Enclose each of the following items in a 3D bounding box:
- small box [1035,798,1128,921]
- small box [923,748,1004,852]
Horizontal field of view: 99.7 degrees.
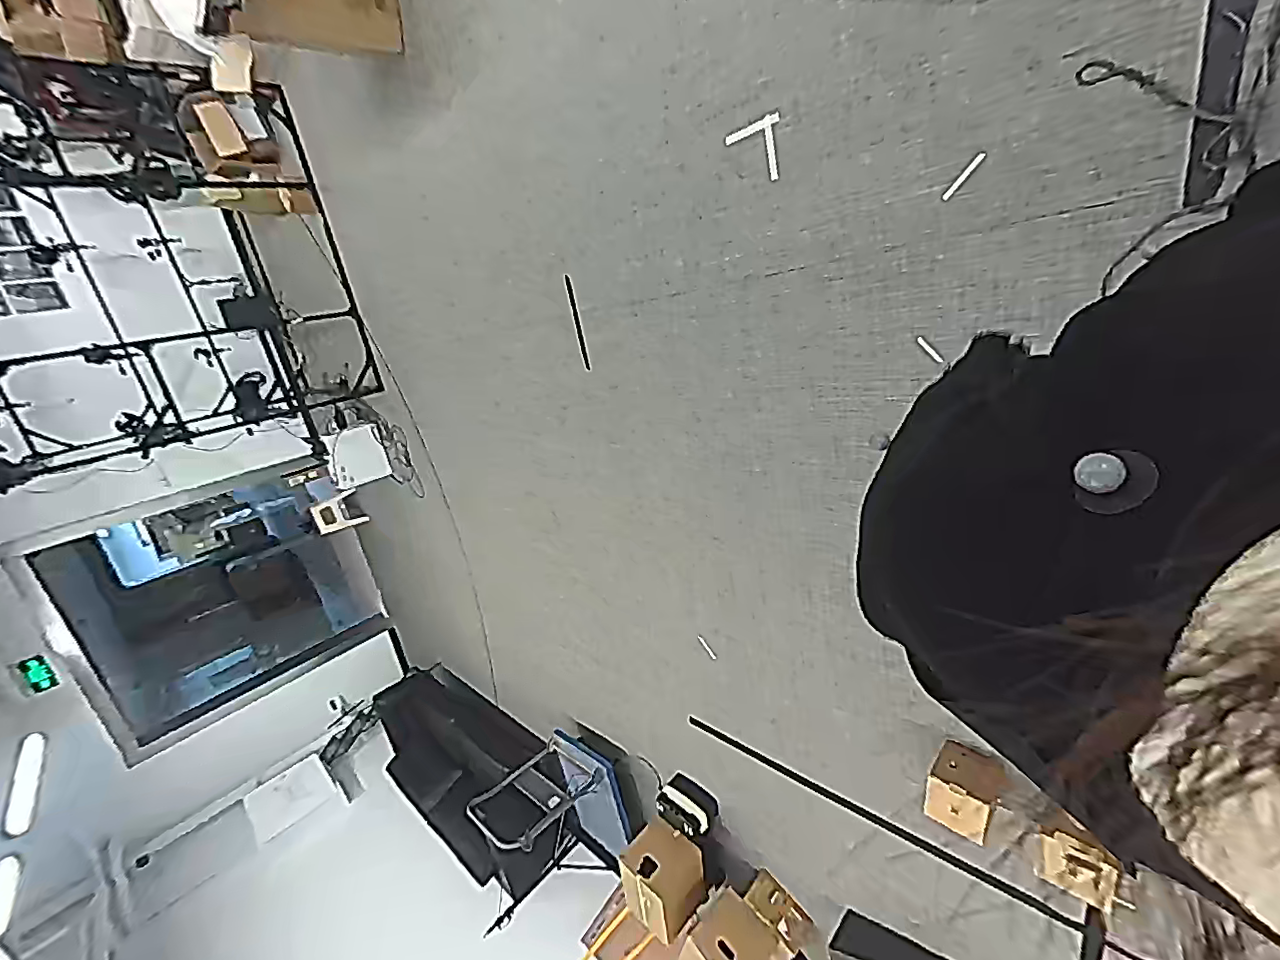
[{"bbox_3d":[1.191,1.011,1.459,0.168,0.176,0.179,11,119,44],"label":"small box"},{"bbox_3d":[0.993,0.970,1.656,0.168,0.176,0.179,16,122,43],"label":"small box"}]
